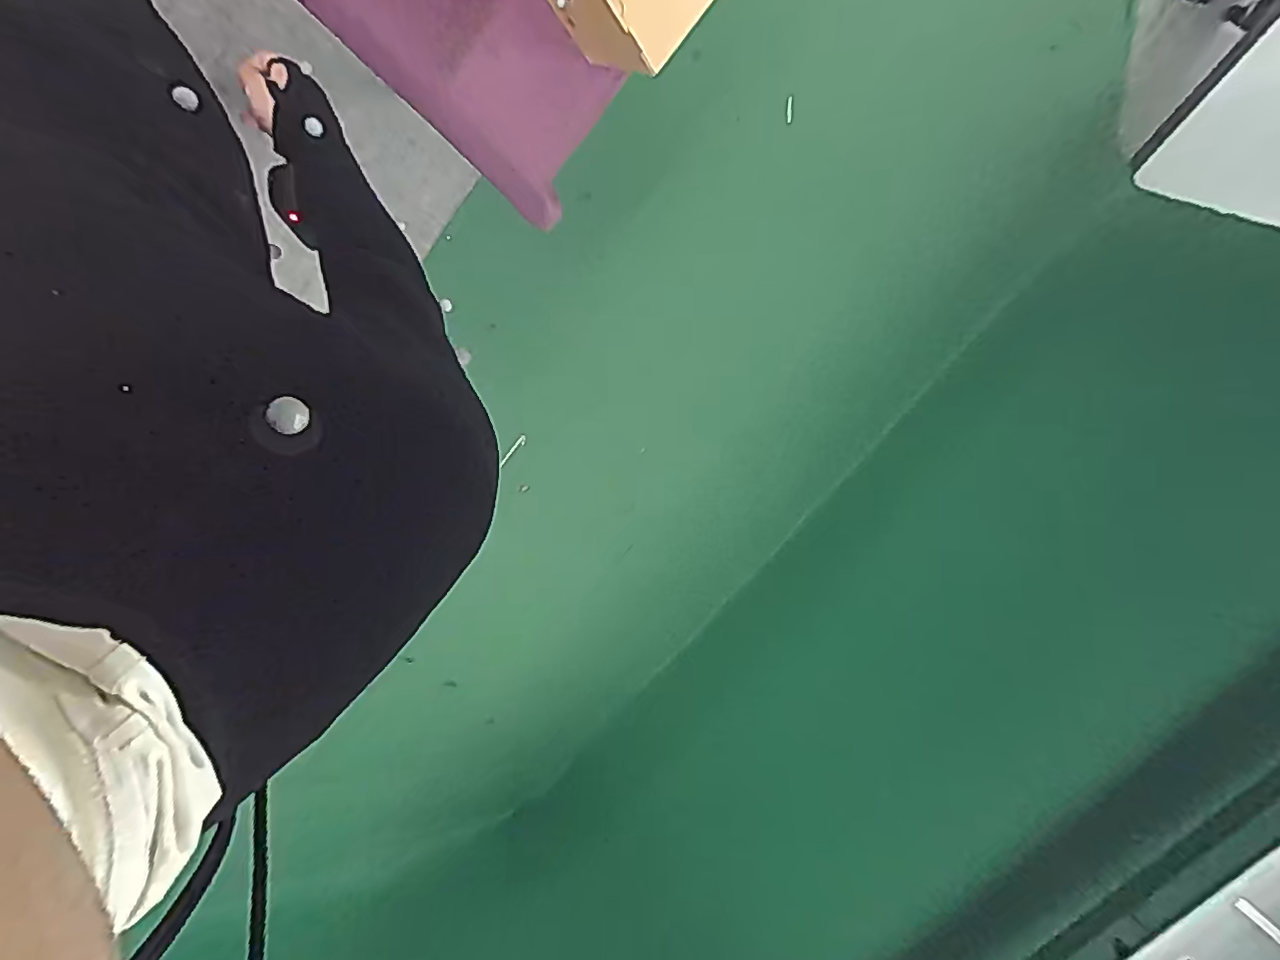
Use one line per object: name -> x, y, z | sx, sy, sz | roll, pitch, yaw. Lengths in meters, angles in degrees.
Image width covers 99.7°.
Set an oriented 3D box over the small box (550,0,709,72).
small box -> -0.017, -0.635, 0.633 | 0.179, 0.176, 0.168 | -48, 142, 9
